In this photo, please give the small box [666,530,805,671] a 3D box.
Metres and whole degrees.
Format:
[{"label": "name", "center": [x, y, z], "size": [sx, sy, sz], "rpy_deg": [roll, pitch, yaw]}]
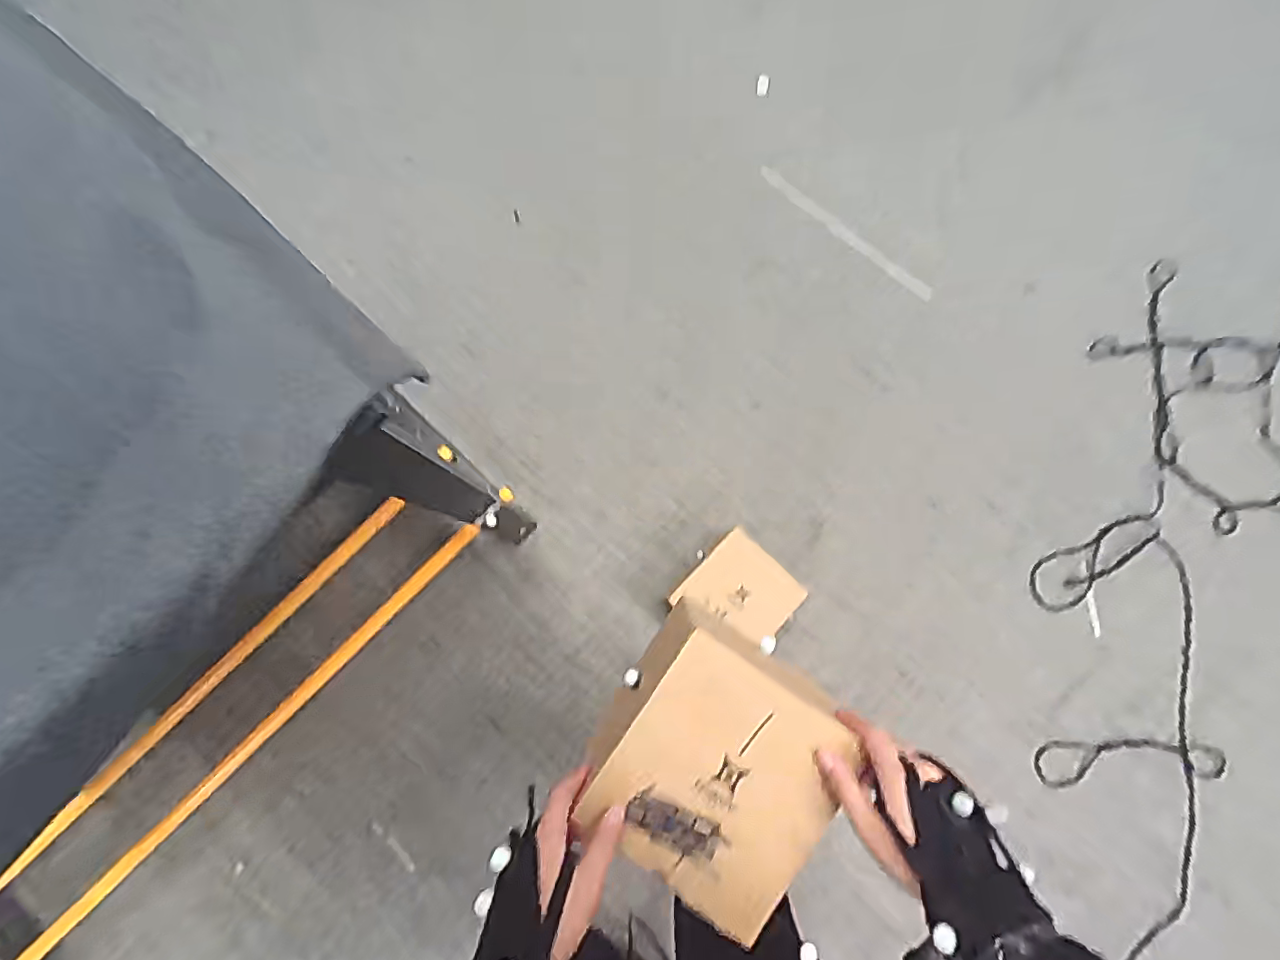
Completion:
[{"label": "small box", "center": [0.161, 0.214, 0.982], "size": [0.168, 0.176, 0.179], "rpy_deg": [44, 81, 8]}]
